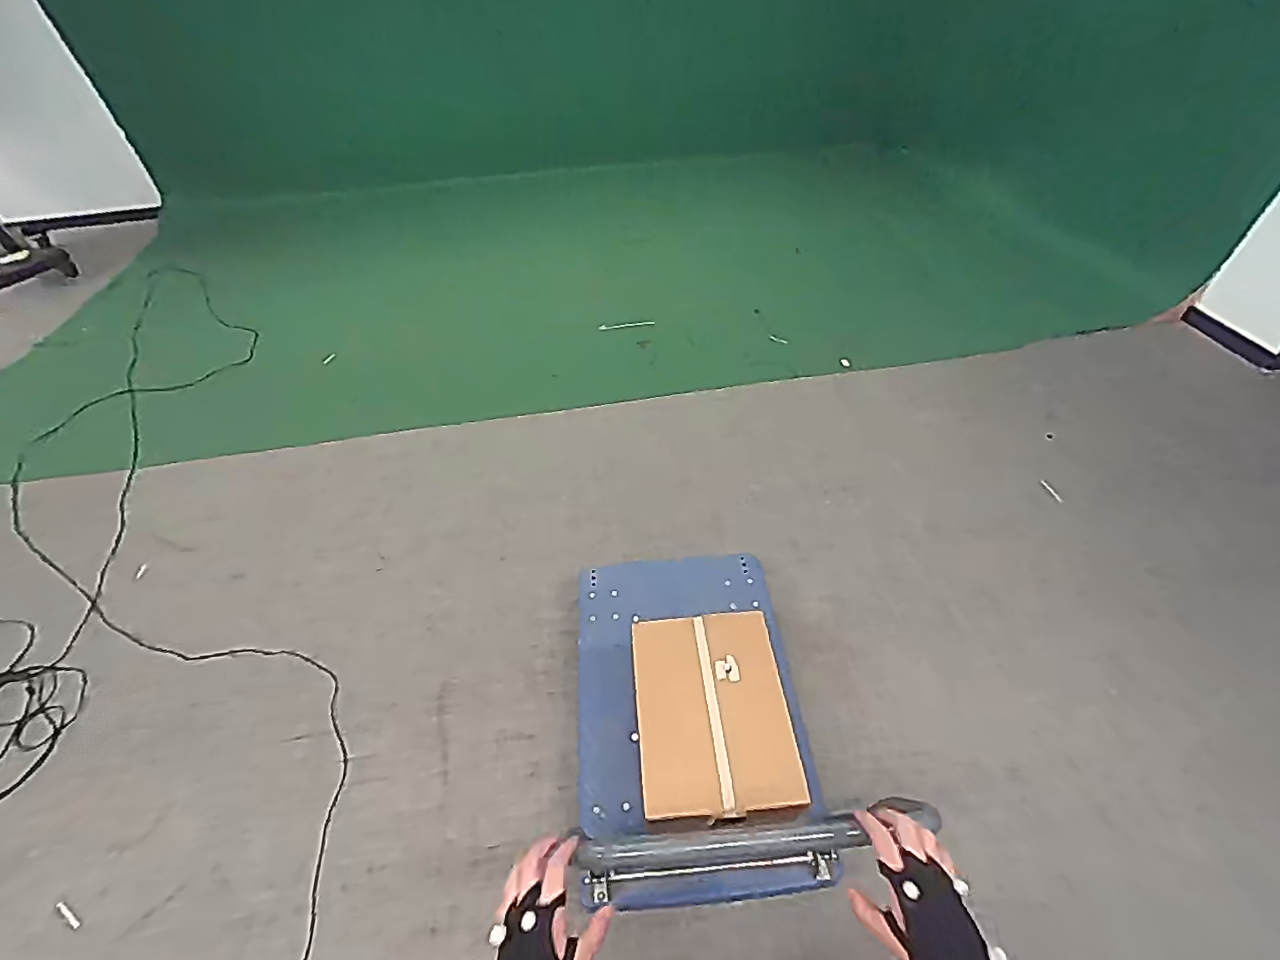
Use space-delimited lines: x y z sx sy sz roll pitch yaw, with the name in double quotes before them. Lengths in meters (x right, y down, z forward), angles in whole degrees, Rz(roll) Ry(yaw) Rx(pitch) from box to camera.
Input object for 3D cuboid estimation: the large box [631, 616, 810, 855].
"large box" 0.156 0.579 1.241 0.320 0.320 0.408 -5 46 -2
